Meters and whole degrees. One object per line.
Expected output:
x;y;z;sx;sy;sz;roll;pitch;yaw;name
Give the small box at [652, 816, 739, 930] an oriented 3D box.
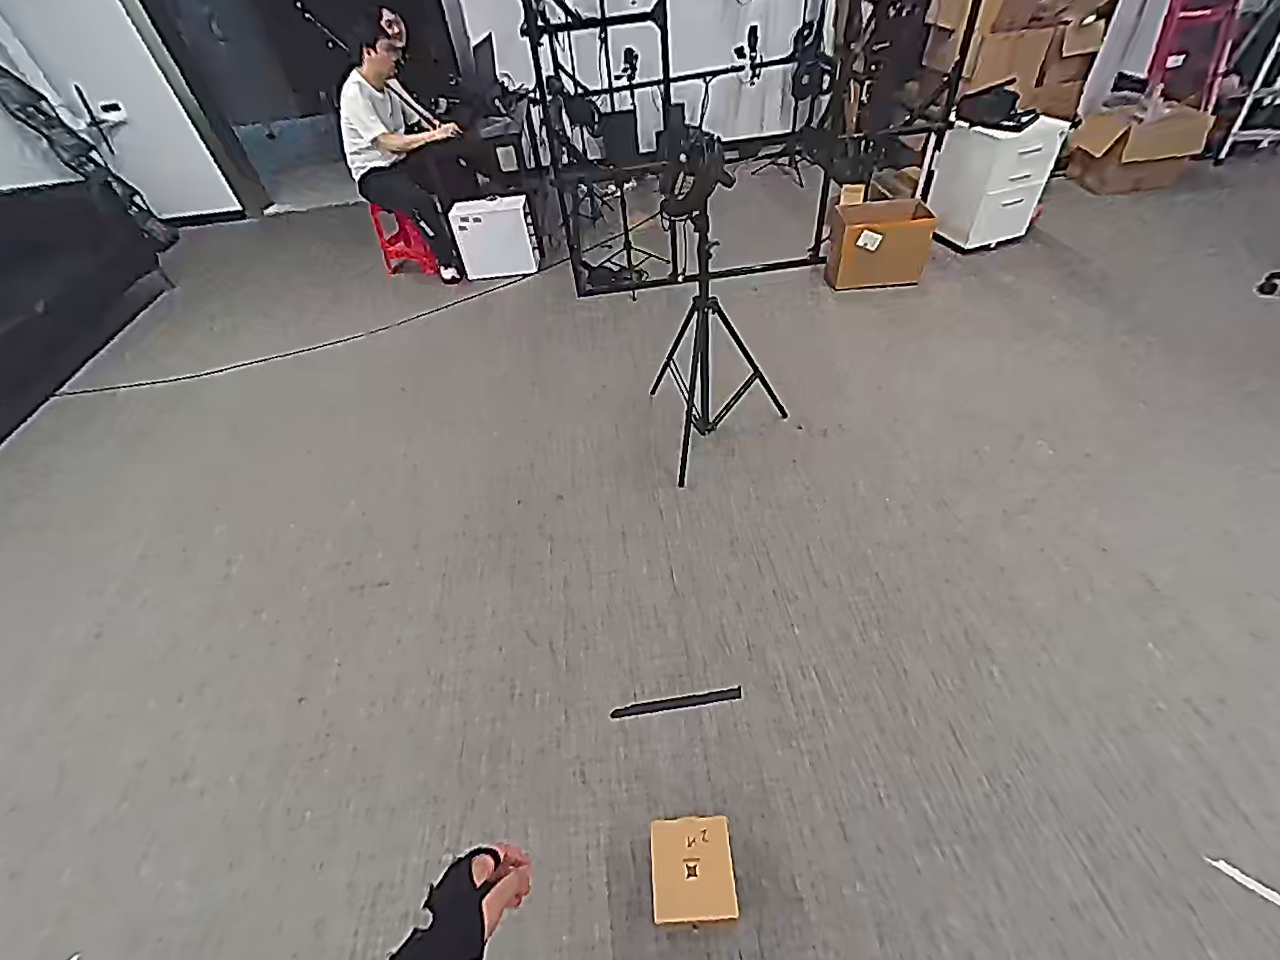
0.115;0.837;1.149;0.168;0.176;0.179;-5;45;2;small box
